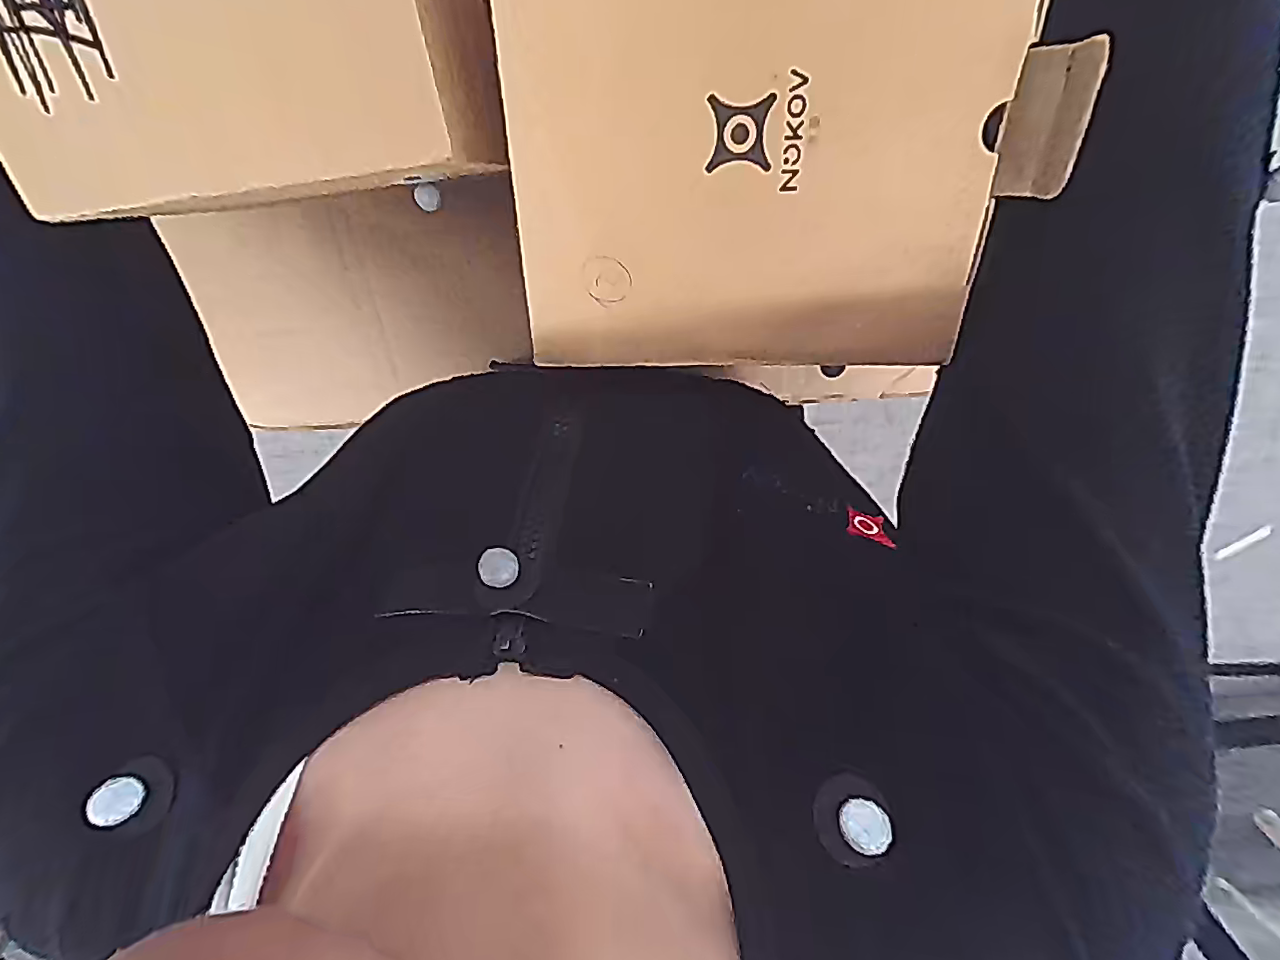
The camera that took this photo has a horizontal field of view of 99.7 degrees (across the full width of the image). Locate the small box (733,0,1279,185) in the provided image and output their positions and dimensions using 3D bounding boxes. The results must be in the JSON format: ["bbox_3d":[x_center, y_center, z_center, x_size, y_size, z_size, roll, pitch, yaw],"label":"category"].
[{"bbox_3d":[0.142,-0.225,0.199,0.179,0.176,0.168,12,126,-3],"label":"small box"}]
